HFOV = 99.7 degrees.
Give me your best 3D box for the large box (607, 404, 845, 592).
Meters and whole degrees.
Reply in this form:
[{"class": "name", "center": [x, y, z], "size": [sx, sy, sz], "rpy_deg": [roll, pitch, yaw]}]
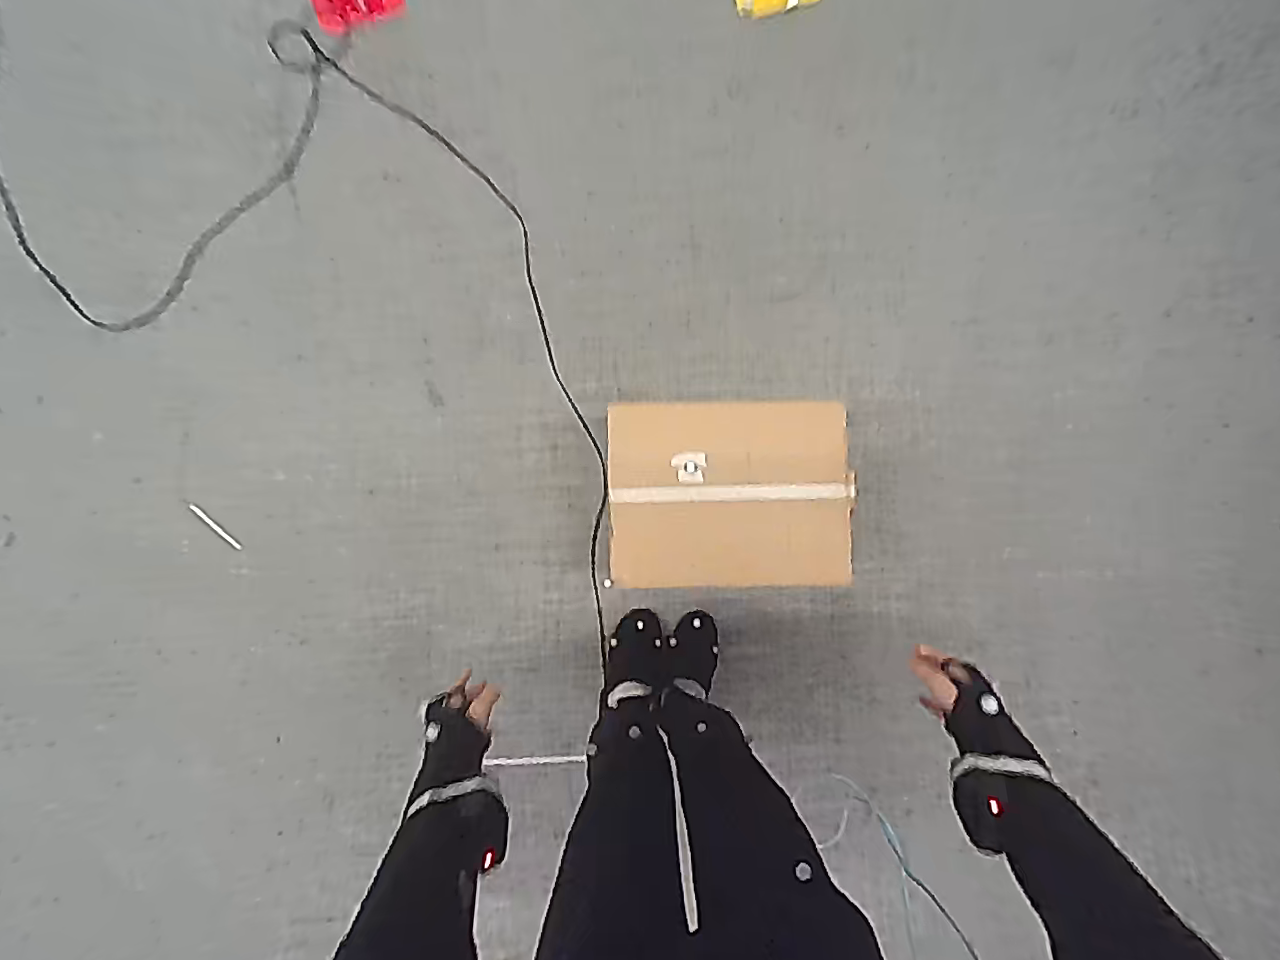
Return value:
[{"class": "large box", "center": [0.148, 0.036, 1.070], "size": [0.408, 0.320, 0.320], "rpy_deg": [-1, 87, 0]}]
